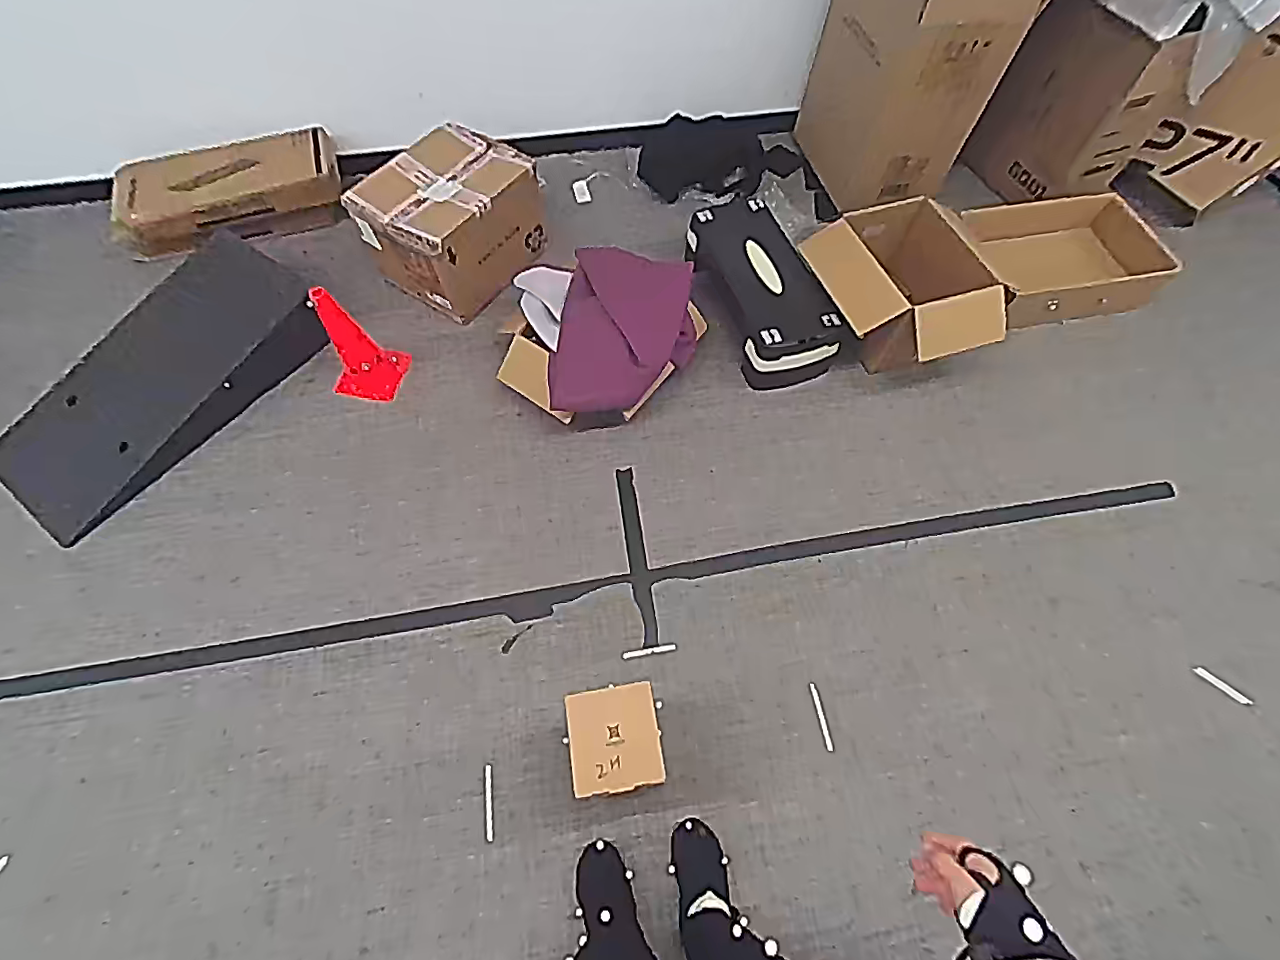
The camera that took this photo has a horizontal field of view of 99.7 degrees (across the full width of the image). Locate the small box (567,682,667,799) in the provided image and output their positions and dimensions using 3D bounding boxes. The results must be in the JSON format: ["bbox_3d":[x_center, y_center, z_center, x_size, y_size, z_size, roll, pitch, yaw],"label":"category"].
[{"bbox_3d":[-0.046,0.507,1.054,0.168,0.176,0.179,-8,63,-4],"label":"small box"}]
